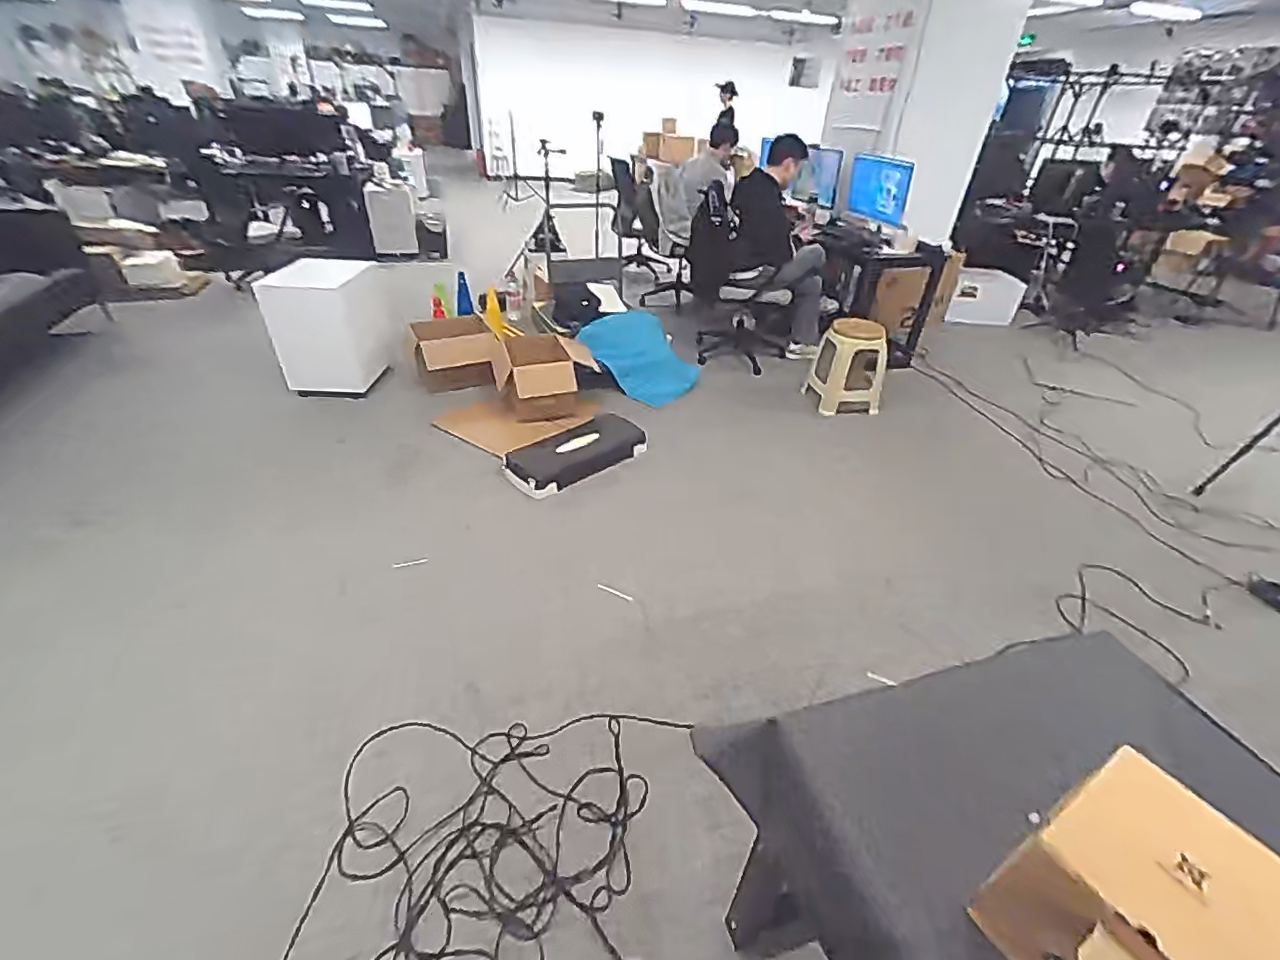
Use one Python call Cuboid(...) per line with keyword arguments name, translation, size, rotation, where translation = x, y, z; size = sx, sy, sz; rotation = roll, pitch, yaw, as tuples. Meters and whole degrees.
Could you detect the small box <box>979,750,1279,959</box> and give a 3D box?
Cuboid(name="small box", translation=(0.460, 0.400, 0.501), size=(0.179, 0.176, 0.168), rotation=(-18, 41, -27))
